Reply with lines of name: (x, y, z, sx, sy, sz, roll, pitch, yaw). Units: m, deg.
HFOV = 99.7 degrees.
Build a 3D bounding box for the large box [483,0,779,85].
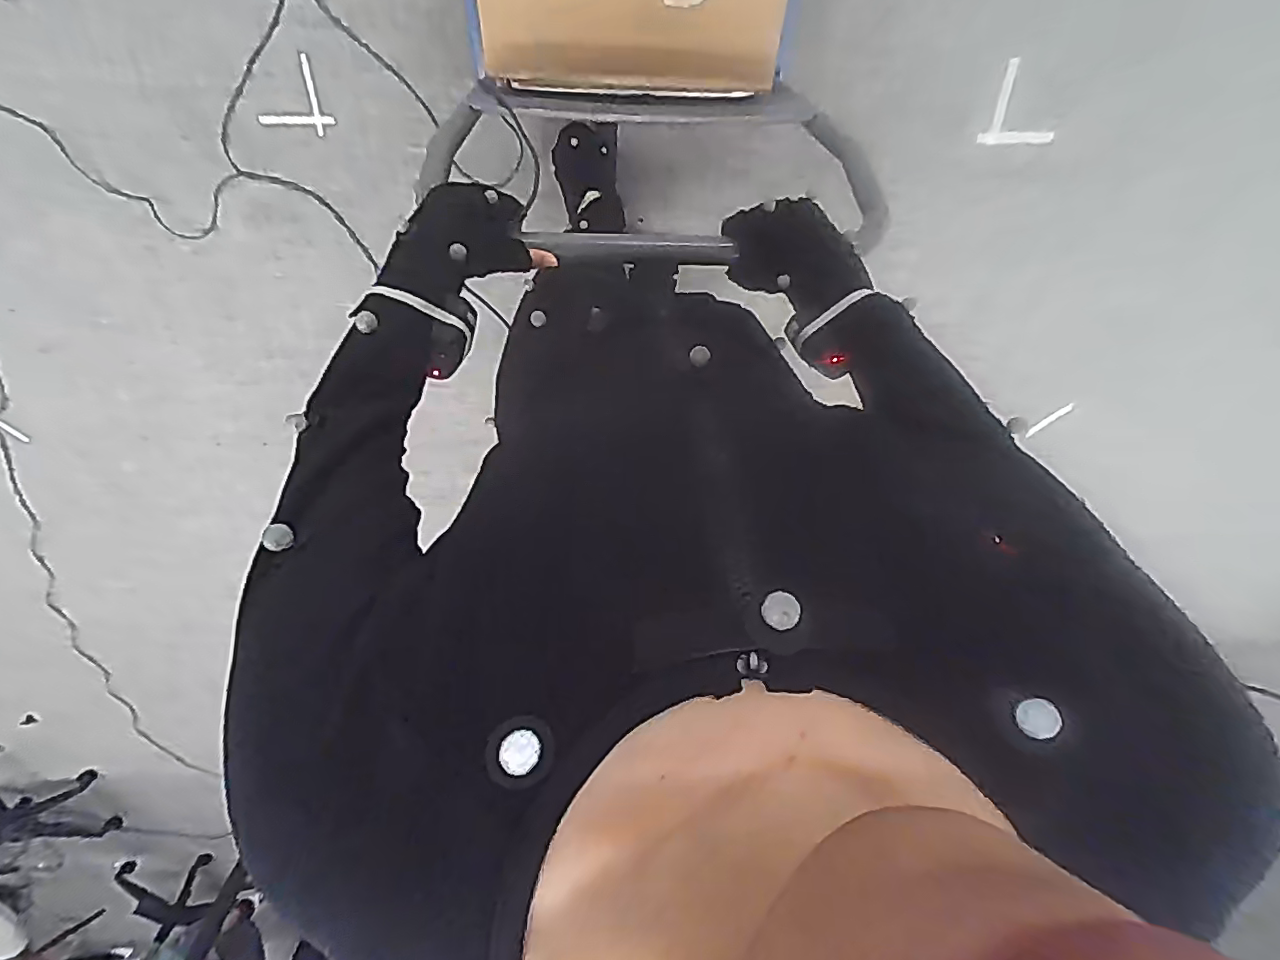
large box: (-0.019, -0.785, 0.787, 0.408, 0.320, 0.320, -1, 132, -5)
